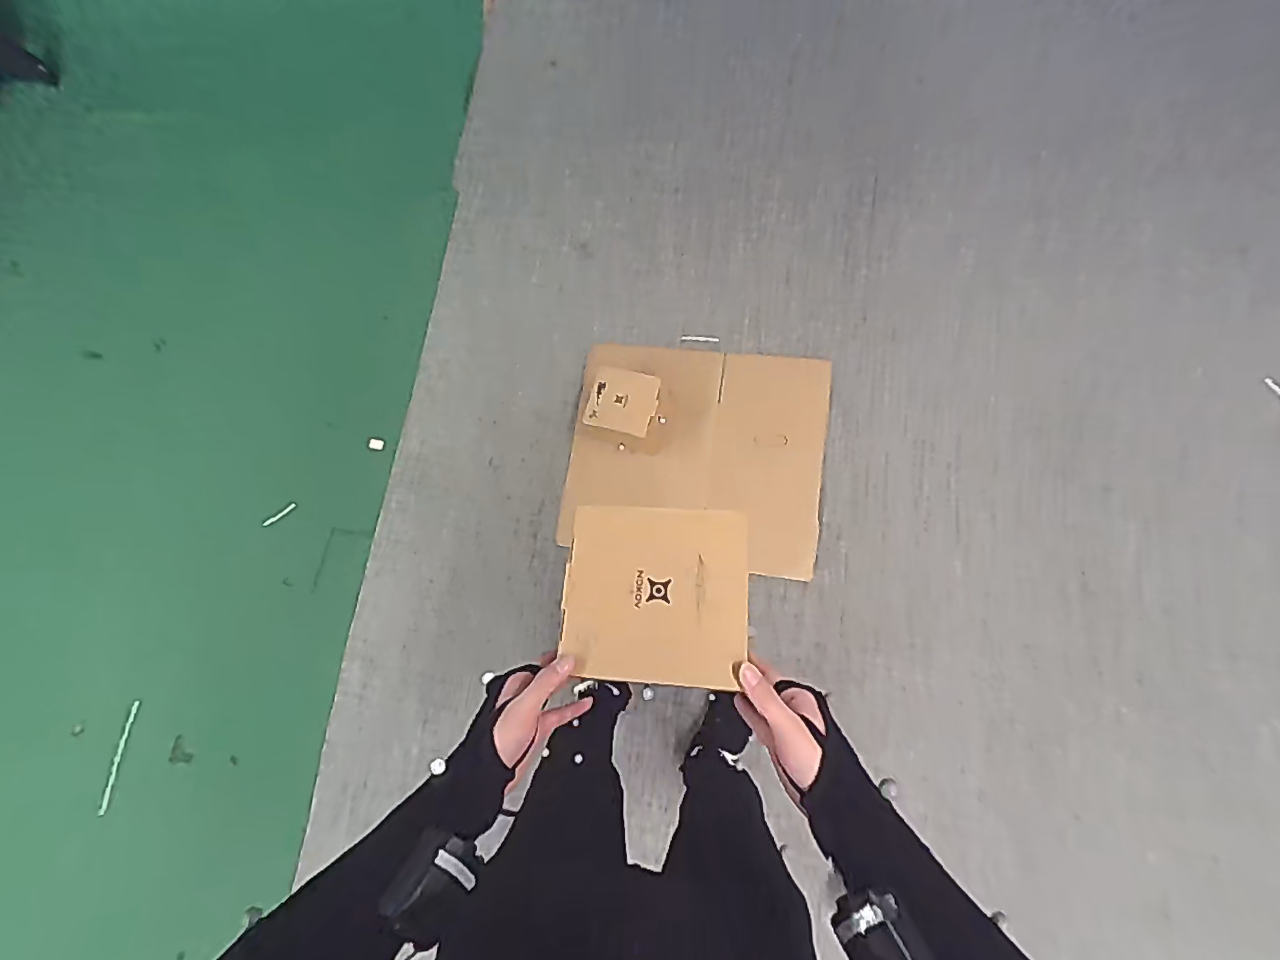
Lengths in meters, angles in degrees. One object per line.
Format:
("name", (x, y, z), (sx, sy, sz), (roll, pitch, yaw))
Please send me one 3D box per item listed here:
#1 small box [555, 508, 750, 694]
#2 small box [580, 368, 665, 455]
("small box", (0.024, 0.137, 0.587), (0.179, 0.176, 0.168), (3, 70, 8))
("small box", (-0.038, -0.178, 1.458), (0.179, 0.176, 0.168), (15, 80, 12))
